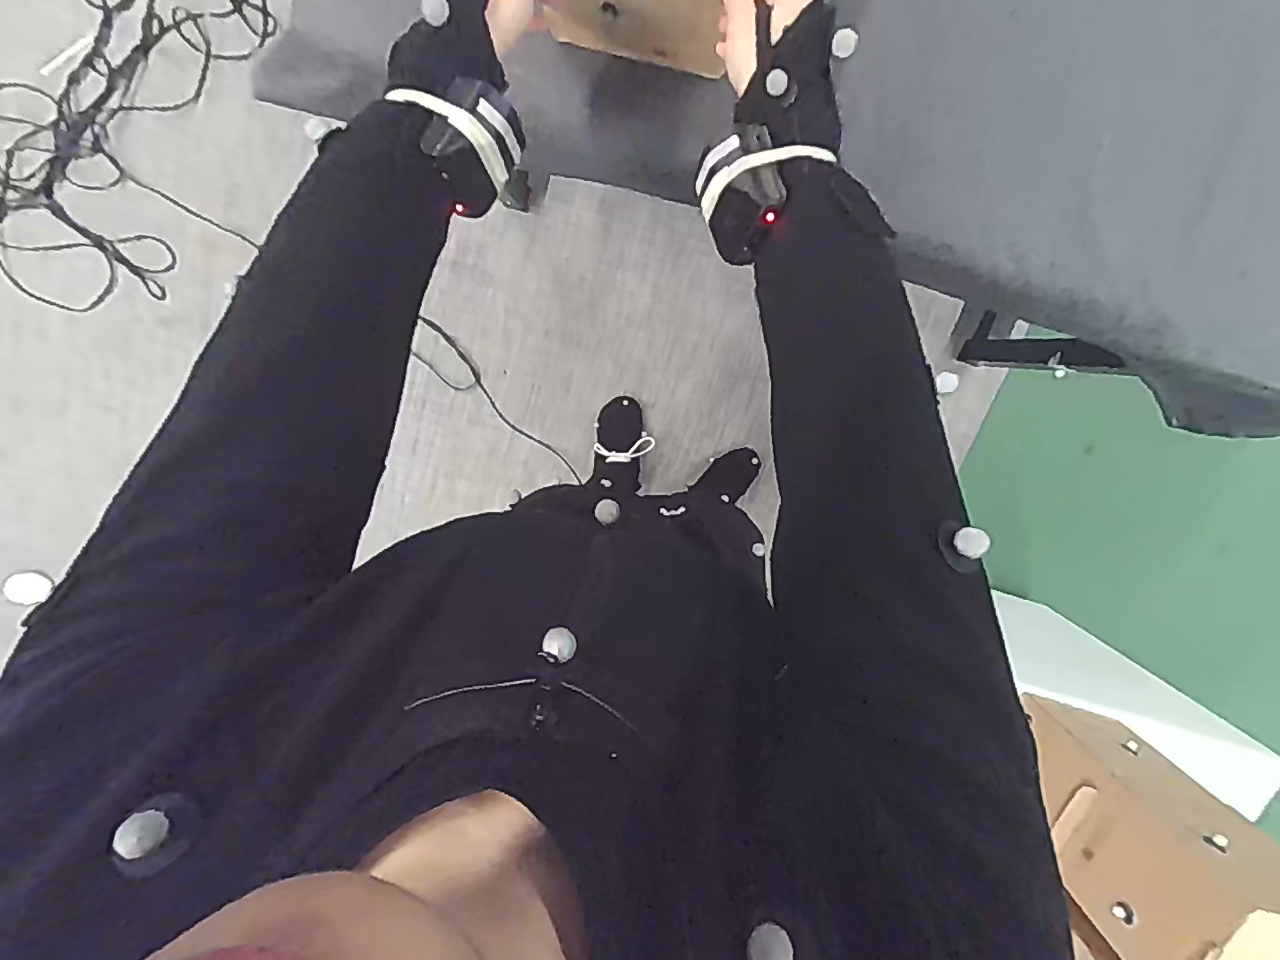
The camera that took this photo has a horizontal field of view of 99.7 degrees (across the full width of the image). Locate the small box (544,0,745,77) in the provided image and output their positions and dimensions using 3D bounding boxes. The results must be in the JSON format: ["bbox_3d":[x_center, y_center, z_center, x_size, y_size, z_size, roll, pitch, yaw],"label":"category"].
[{"bbox_3d":[0.014,-0.453,0.419,0.168,0.176,0.179,11,109,-4],"label":"small box"}]
